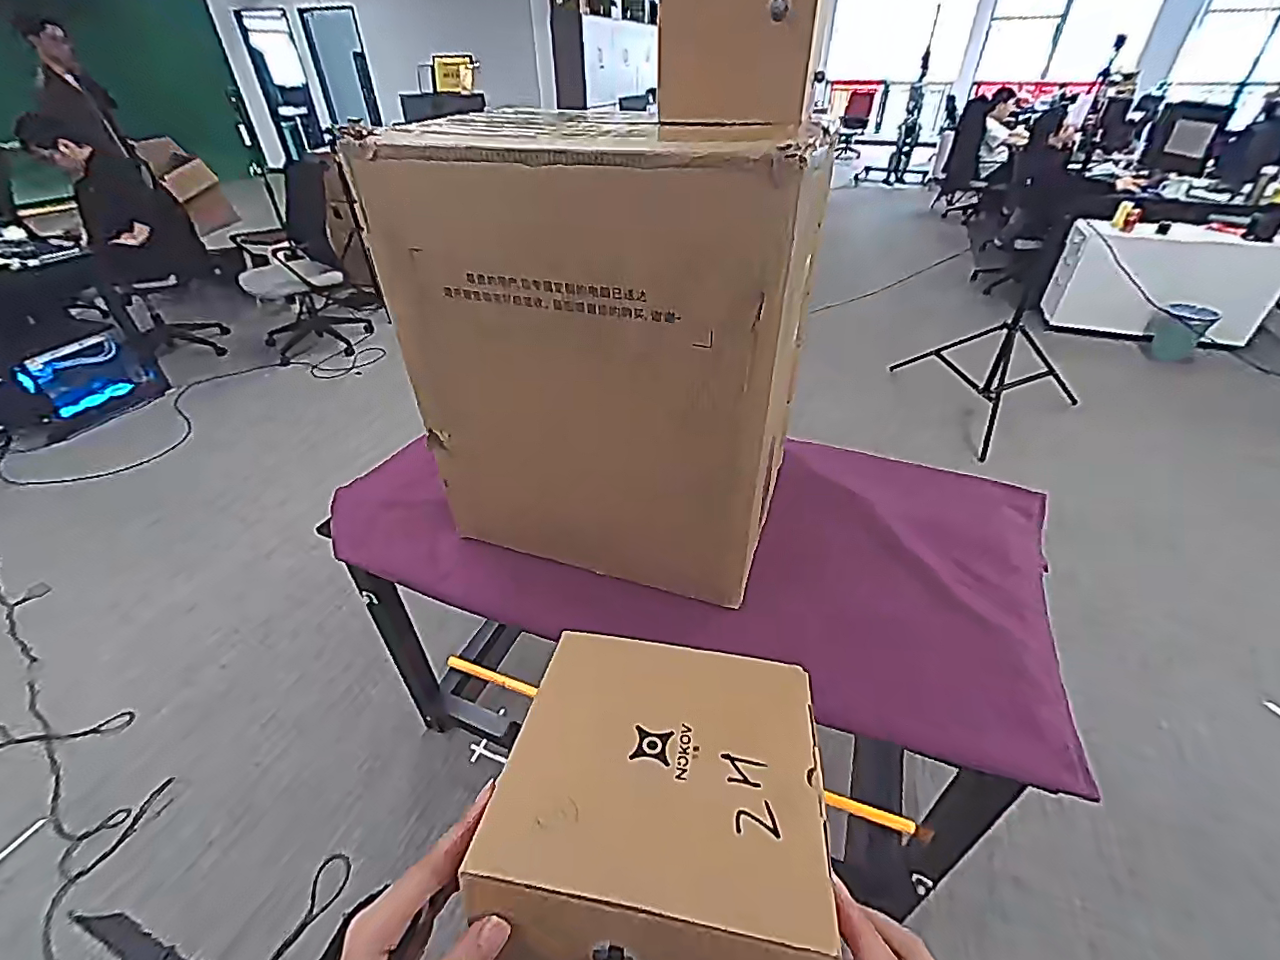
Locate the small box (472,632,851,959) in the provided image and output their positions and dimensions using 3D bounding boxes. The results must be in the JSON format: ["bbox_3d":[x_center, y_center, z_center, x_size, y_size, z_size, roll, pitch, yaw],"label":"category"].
[{"bbox_3d":[0.017,0.226,0.343,0.179,0.176,0.168,7,27,8],"label":"small box"}]
